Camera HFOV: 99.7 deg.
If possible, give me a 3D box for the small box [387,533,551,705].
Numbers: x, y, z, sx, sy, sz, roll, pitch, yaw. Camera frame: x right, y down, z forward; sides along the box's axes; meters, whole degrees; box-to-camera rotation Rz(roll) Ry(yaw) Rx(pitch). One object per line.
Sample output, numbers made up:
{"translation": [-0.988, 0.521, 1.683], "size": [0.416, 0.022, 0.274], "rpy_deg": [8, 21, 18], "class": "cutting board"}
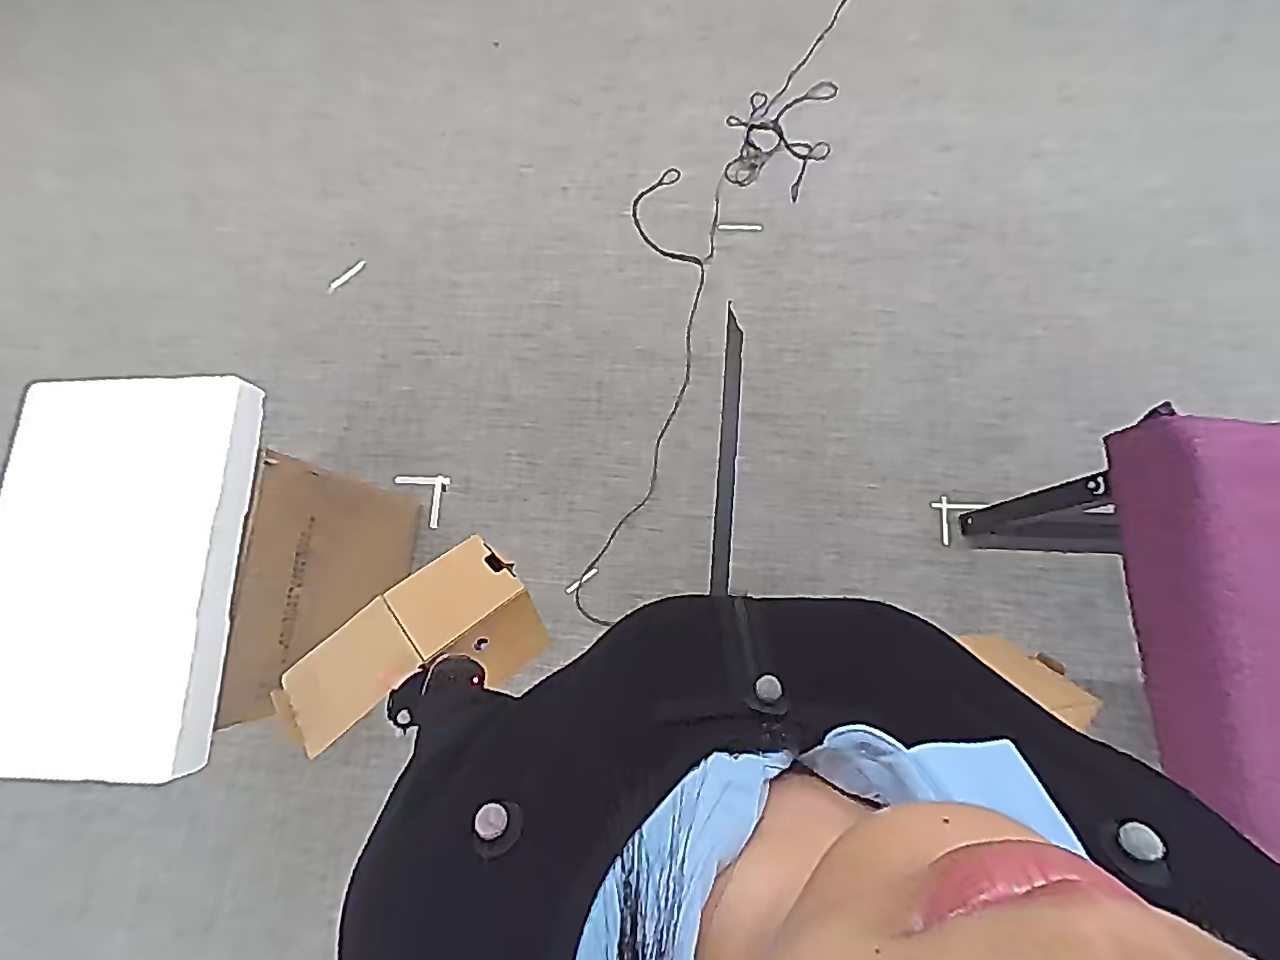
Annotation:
{"translation": [-0.273, 0.229, 0.888], "size": [0.179, 0.176, 0.168], "rpy_deg": [-34, 48, -24], "class": "small box"}
